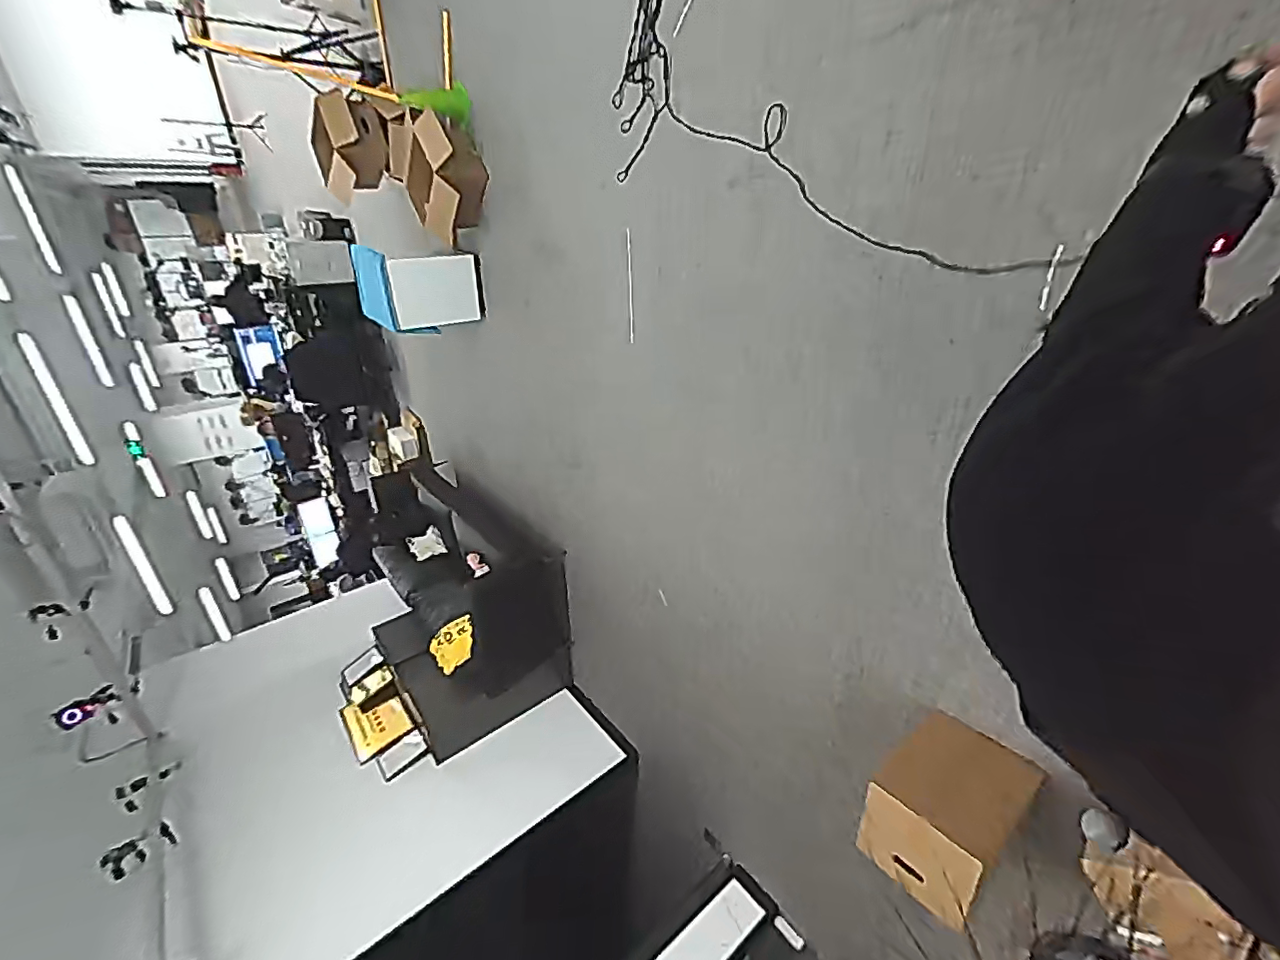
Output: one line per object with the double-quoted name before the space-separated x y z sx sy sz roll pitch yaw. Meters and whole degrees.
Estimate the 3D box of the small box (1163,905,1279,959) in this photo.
"small box" 1.105 0.937 0.977 0.168 0.176 0.179 -29 83 56
